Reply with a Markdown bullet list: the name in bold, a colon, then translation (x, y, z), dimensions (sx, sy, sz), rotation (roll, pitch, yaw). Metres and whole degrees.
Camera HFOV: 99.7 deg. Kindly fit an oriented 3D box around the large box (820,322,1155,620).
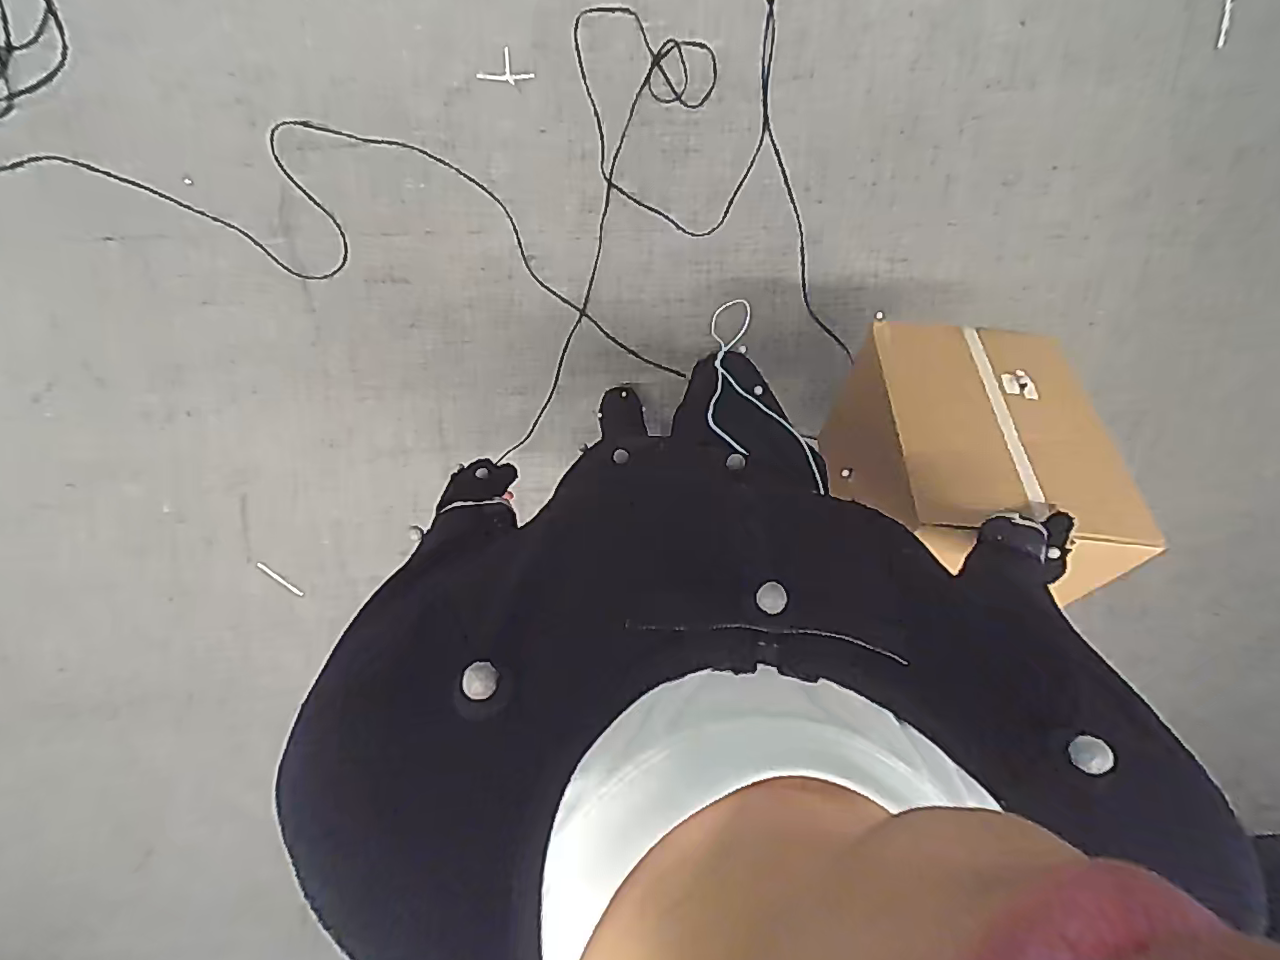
- **large box**: translation (0.523, -0.011, 0.928), dimensions (0.320, 0.408, 0.320), rotation (6, 145, 1)
